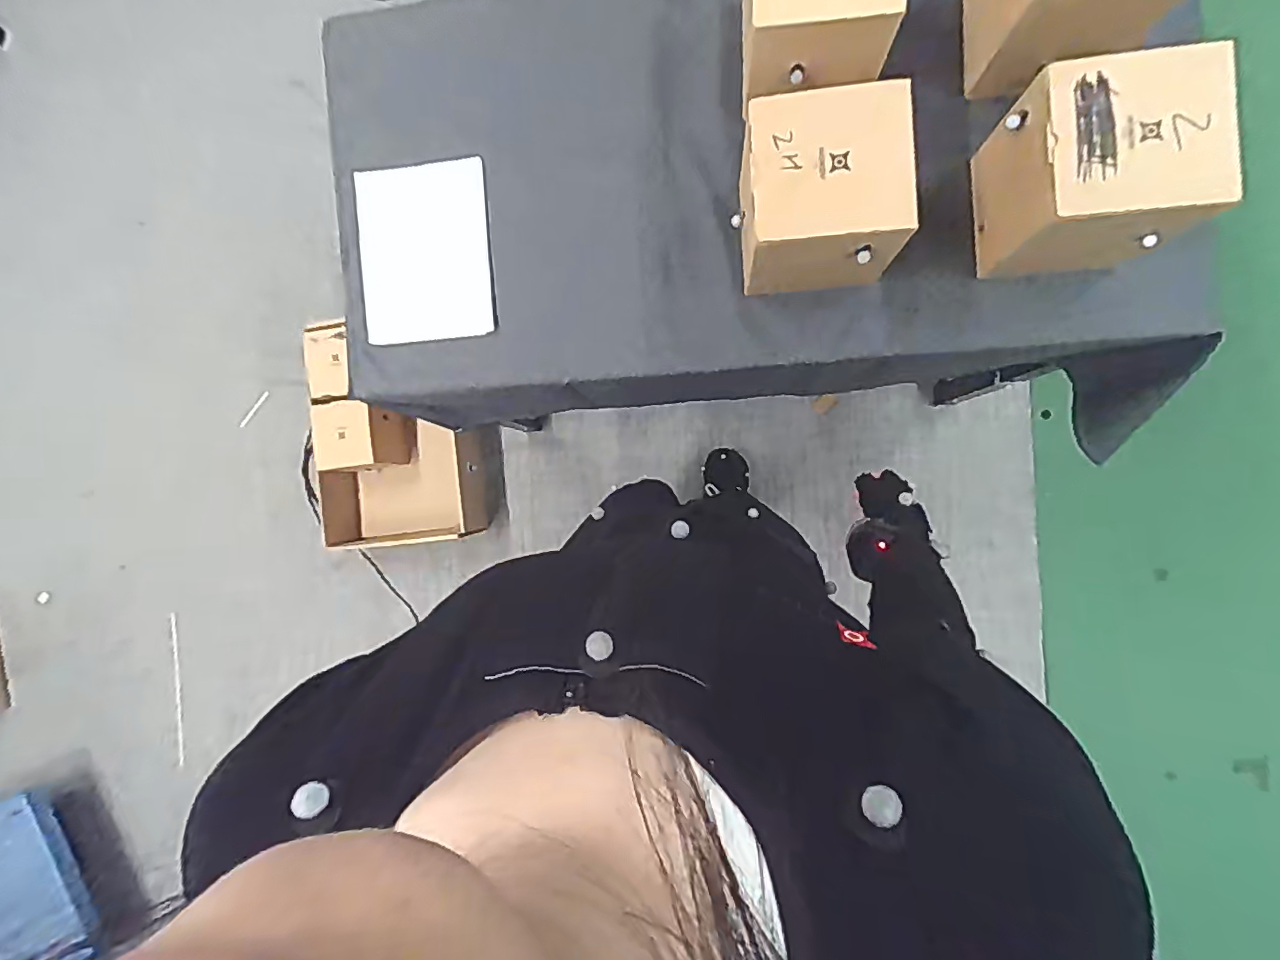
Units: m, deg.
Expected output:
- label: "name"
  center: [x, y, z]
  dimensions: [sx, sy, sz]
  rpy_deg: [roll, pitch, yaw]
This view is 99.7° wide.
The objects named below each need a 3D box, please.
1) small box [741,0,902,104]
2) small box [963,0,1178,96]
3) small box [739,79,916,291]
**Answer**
- label: "small box"
  center: [0.216, -0.594, 0.675]
  dimensions: [0.168, 0.176, 0.179]
  rpy_deg: [0, 90, 7]
- label: "small box"
  center: [0.503, -0.600, 0.636]
  dimensions: [0.168, 0.176, 0.179]
  rpy_deg: [0, 90, 8]
- label: "small box"
  center: [0.218, -0.348, 0.671]
  dimensions: [0.179, 0.176, 0.168]
  rpy_deg: [-2, 88, 8]
